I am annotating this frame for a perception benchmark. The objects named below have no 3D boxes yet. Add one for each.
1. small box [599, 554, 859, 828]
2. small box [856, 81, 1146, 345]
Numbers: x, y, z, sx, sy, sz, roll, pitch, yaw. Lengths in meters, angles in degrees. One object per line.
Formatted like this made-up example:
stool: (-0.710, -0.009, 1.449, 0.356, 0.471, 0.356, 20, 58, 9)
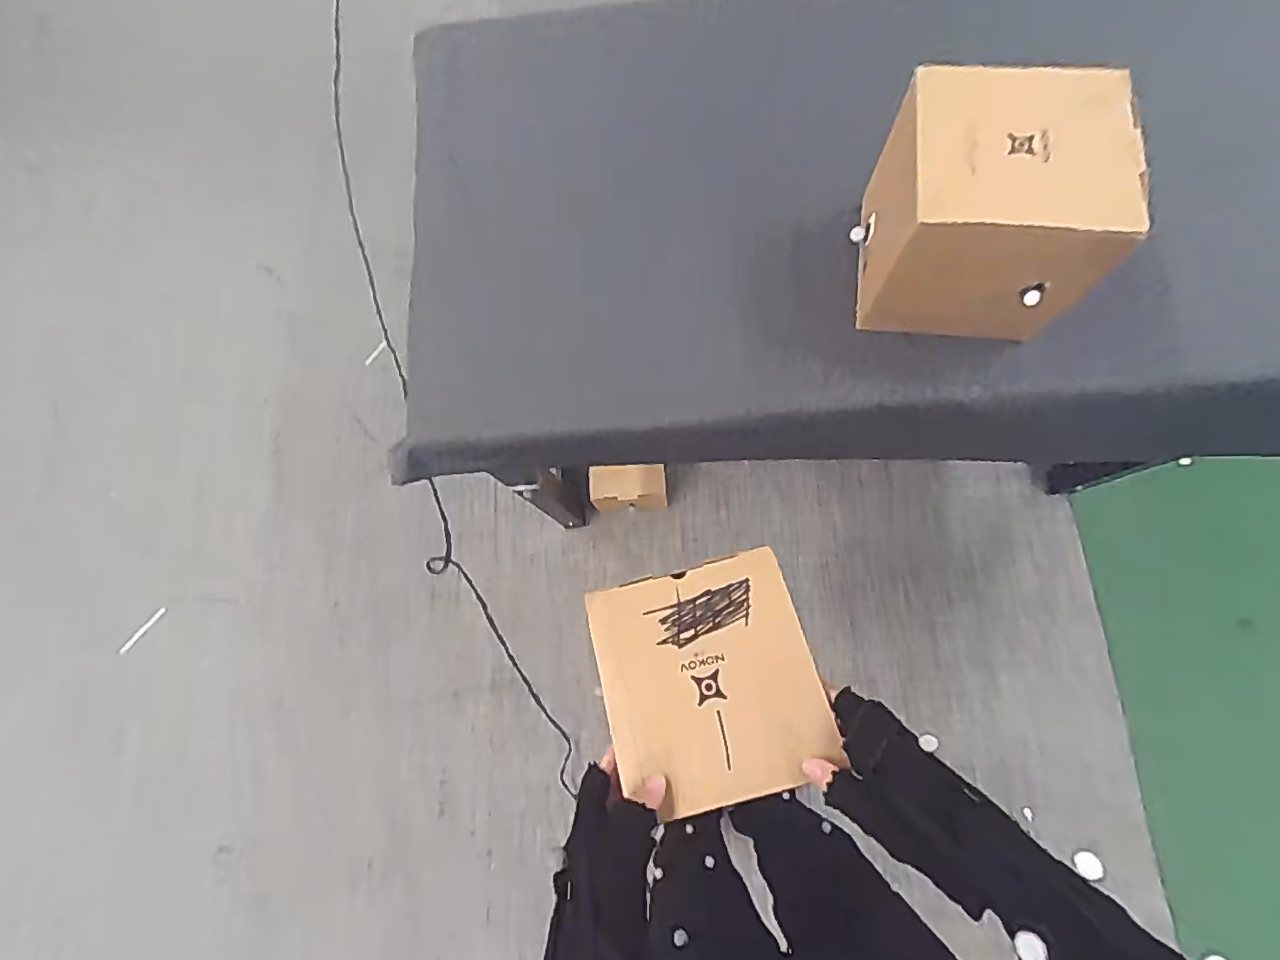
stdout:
small box: (0.067, 0.191, 0.495, 0.168, 0.176, 0.179, -15, 64, -1)
small box: (0.329, -0.248, 0.532, 0.179, 0.176, 0.168, 5, 74, 7)
